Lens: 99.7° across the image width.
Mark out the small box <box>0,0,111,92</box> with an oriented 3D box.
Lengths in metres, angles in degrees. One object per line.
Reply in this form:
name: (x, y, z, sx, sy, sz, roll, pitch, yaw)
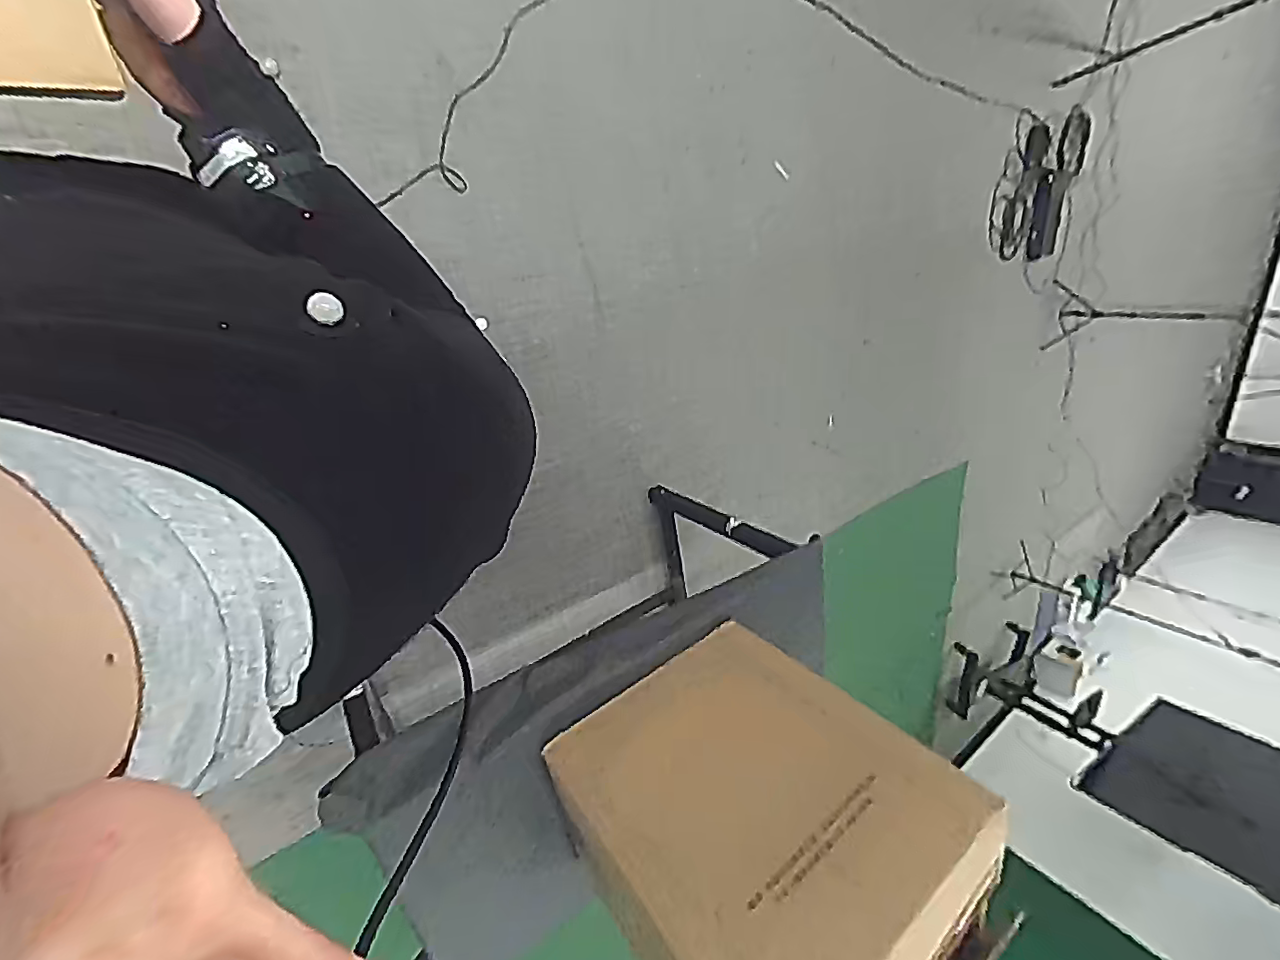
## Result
small box: (-0.391, -0.286, 0.248, 0.179, 0.176, 0.168, -22, 130, -32)
